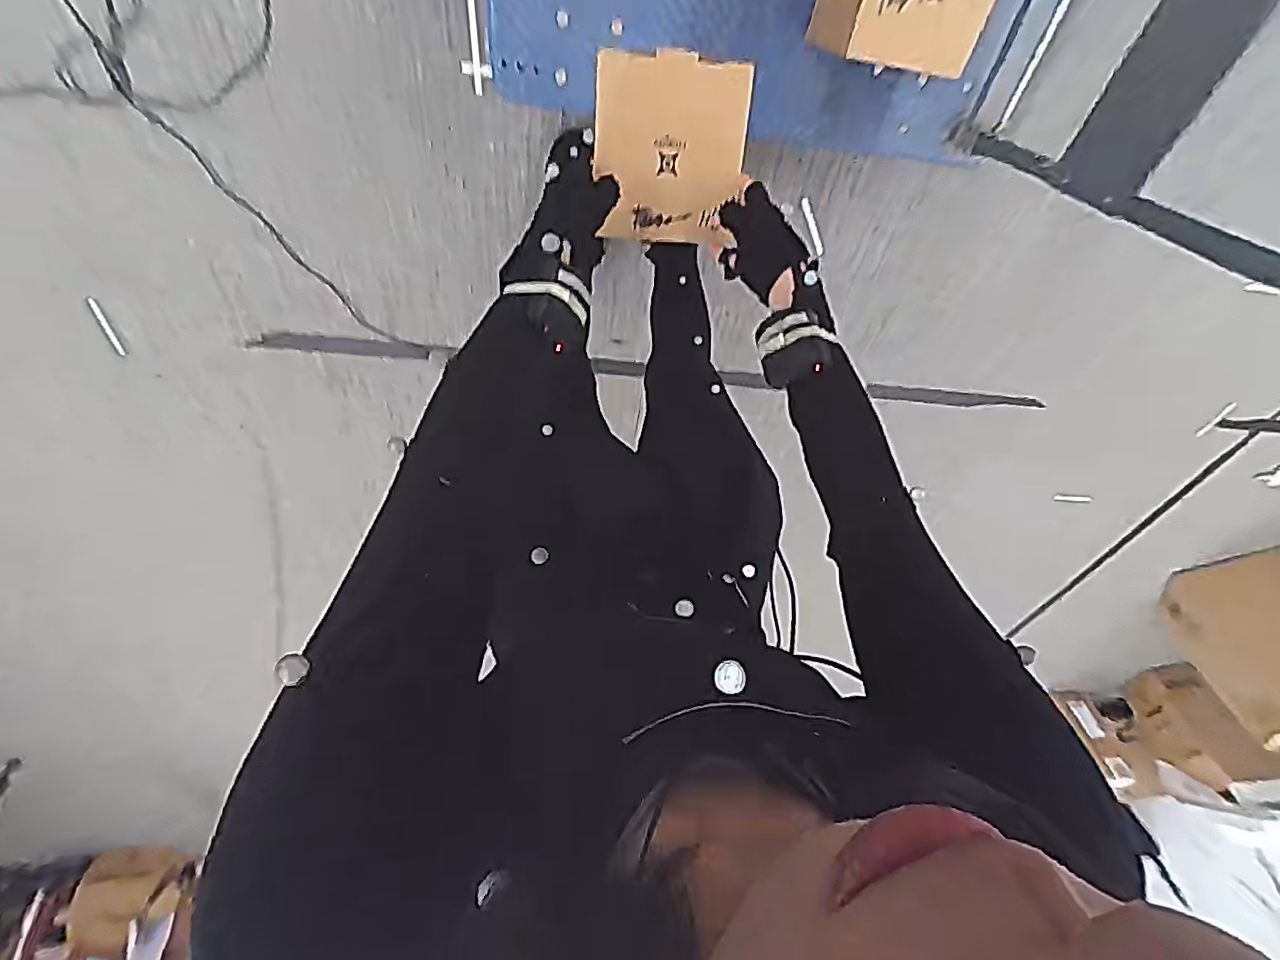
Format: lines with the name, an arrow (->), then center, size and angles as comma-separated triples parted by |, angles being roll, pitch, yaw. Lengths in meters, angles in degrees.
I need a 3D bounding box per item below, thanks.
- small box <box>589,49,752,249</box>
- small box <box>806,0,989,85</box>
small box -> 0.023, -0.388, 0.661 | 0.168, 0.176, 0.179 | 2, 117, -6
small box -> 0.352, -0.665, 0.738 | 0.179, 0.176, 0.168 | 3, 133, -11
